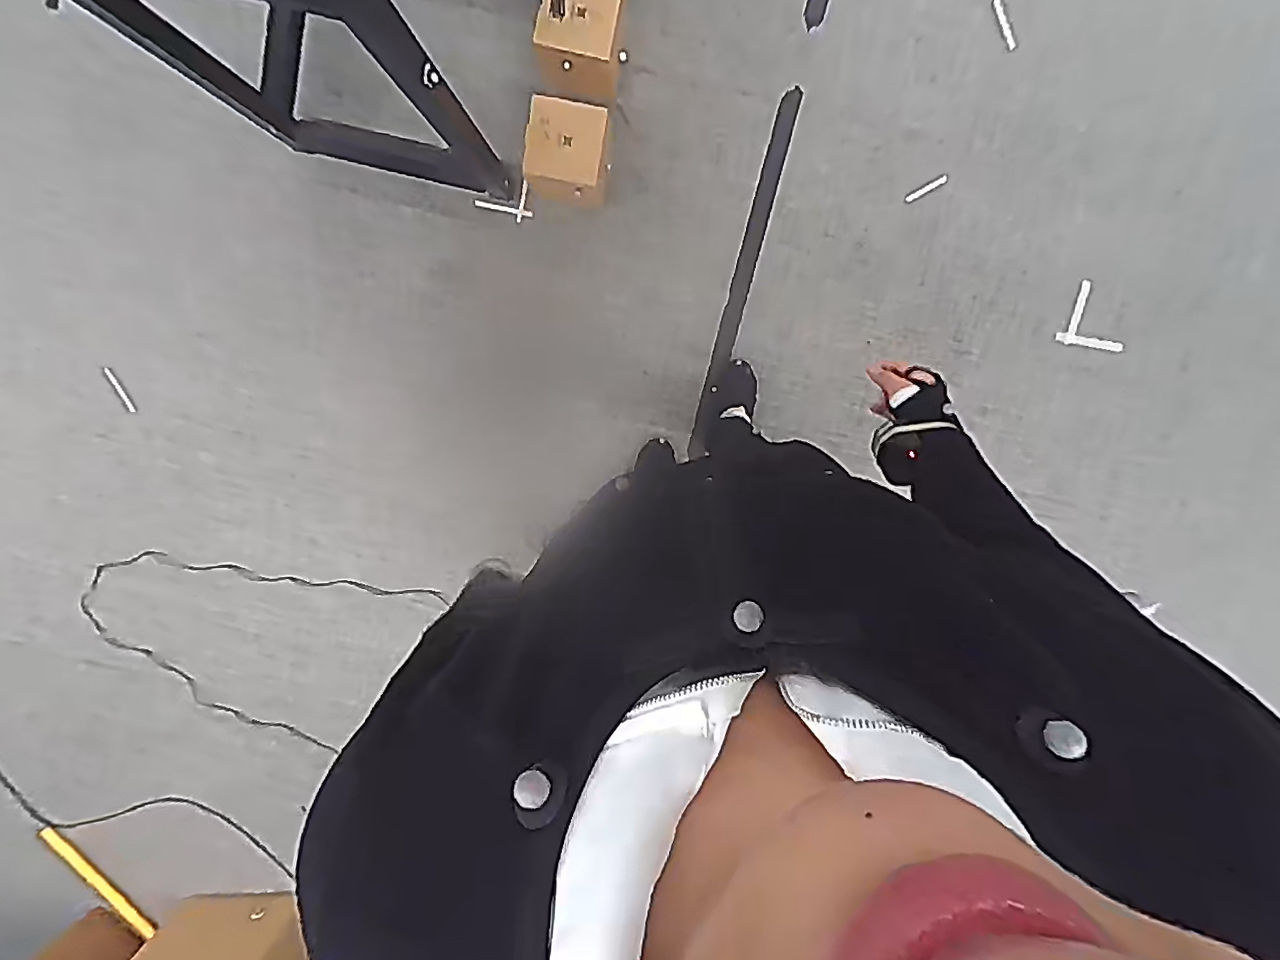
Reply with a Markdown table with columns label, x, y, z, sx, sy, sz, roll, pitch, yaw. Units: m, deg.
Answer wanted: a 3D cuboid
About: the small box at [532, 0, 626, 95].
| label | x | y | z | sx | sy | sz | roll | pitch | yaw |
| --- | --- | --- | --- | --- | --- | --- | --- | --- | --- |
| small box | -0.134 | -1.035 | 1.252 | 0.179 | 0.176 | 0.168 | 12 | 100 | -2 |
